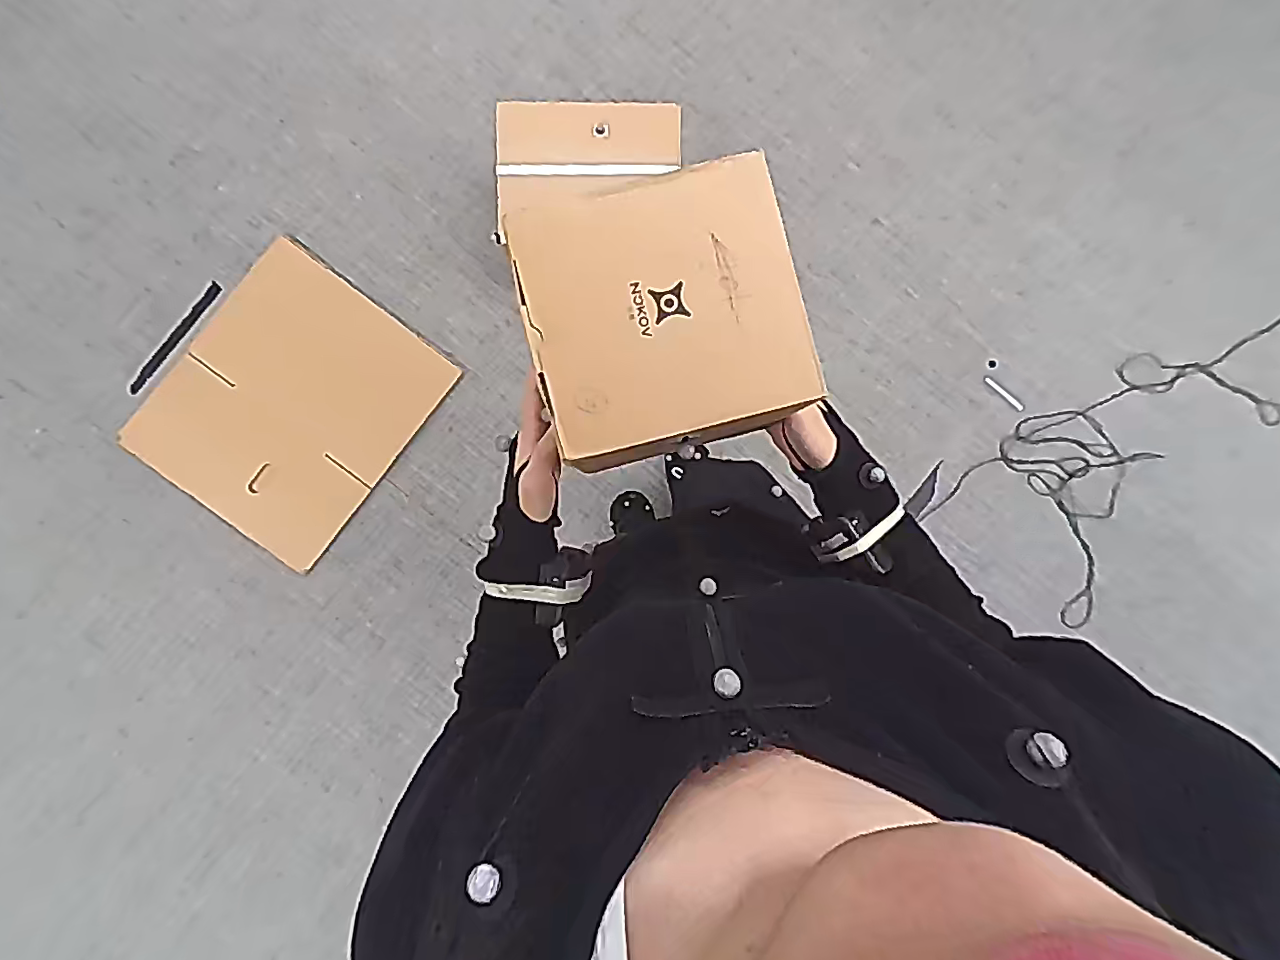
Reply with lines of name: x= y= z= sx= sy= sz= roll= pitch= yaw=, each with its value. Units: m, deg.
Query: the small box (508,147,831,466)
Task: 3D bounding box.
small box: x=0.018 y=-0.111 z=0.422 sx=0.179 sy=0.176 sz=0.168 roll=-15 pitch=89 yaw=-1
